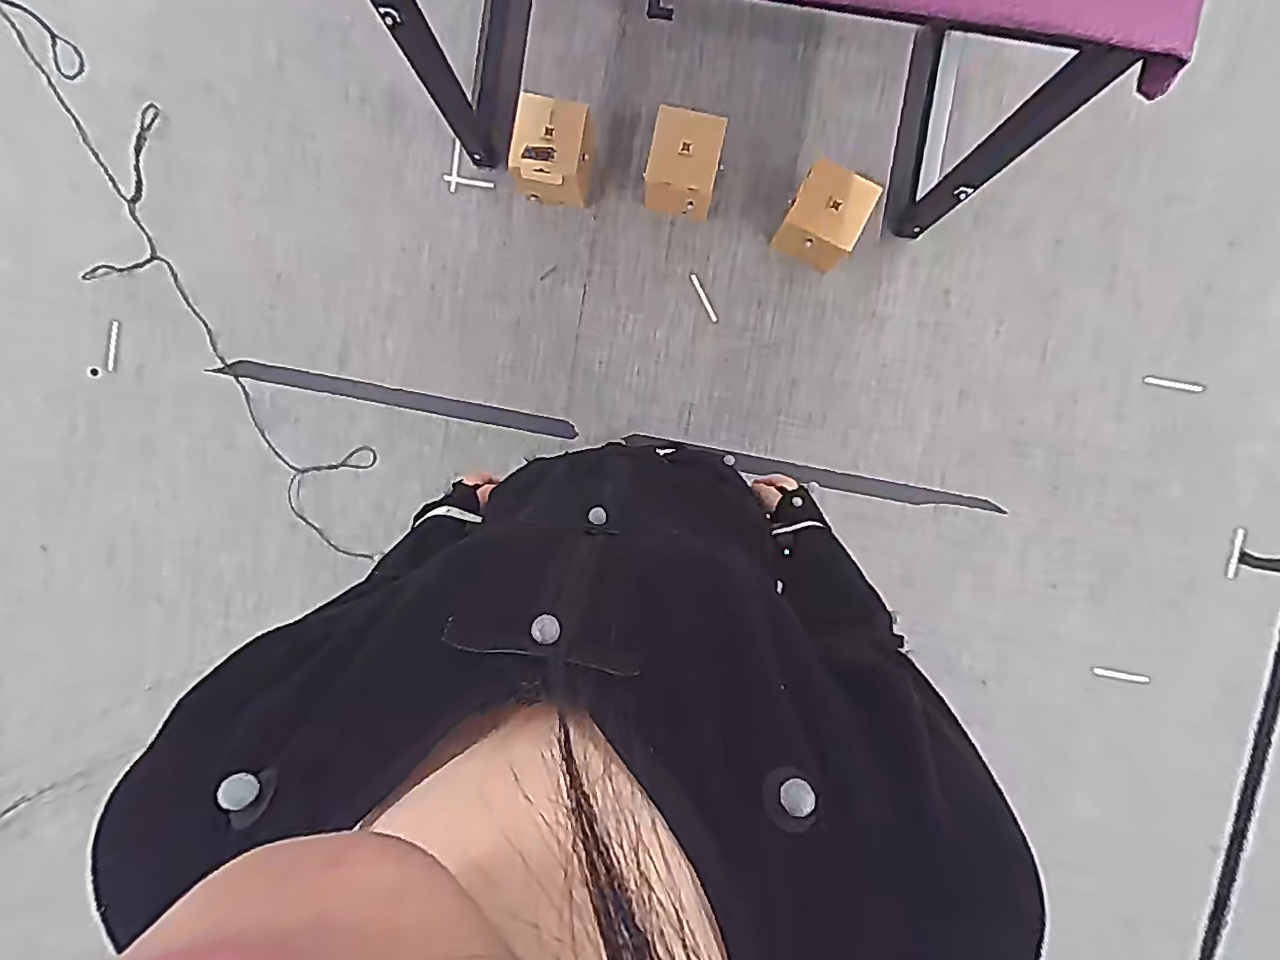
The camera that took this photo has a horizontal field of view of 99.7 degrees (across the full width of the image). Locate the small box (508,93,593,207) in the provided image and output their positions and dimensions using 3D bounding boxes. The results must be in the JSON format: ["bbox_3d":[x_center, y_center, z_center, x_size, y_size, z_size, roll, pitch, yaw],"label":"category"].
[{"bbox_3d":[-0.216,-0.815,1.355,0.168,0.176,0.179,11,93,0],"label":"small box"}]

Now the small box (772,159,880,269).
[{"bbox_3d":[0.457,-0.653,1.356,0.179,0.176,0.168,27,95,1],"label":"small box"}]

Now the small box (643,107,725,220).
[{"bbox_3d":[0.106,-0.782,1.353,0.168,0.176,0.179,12,93,-1],"label":"small box"}]
